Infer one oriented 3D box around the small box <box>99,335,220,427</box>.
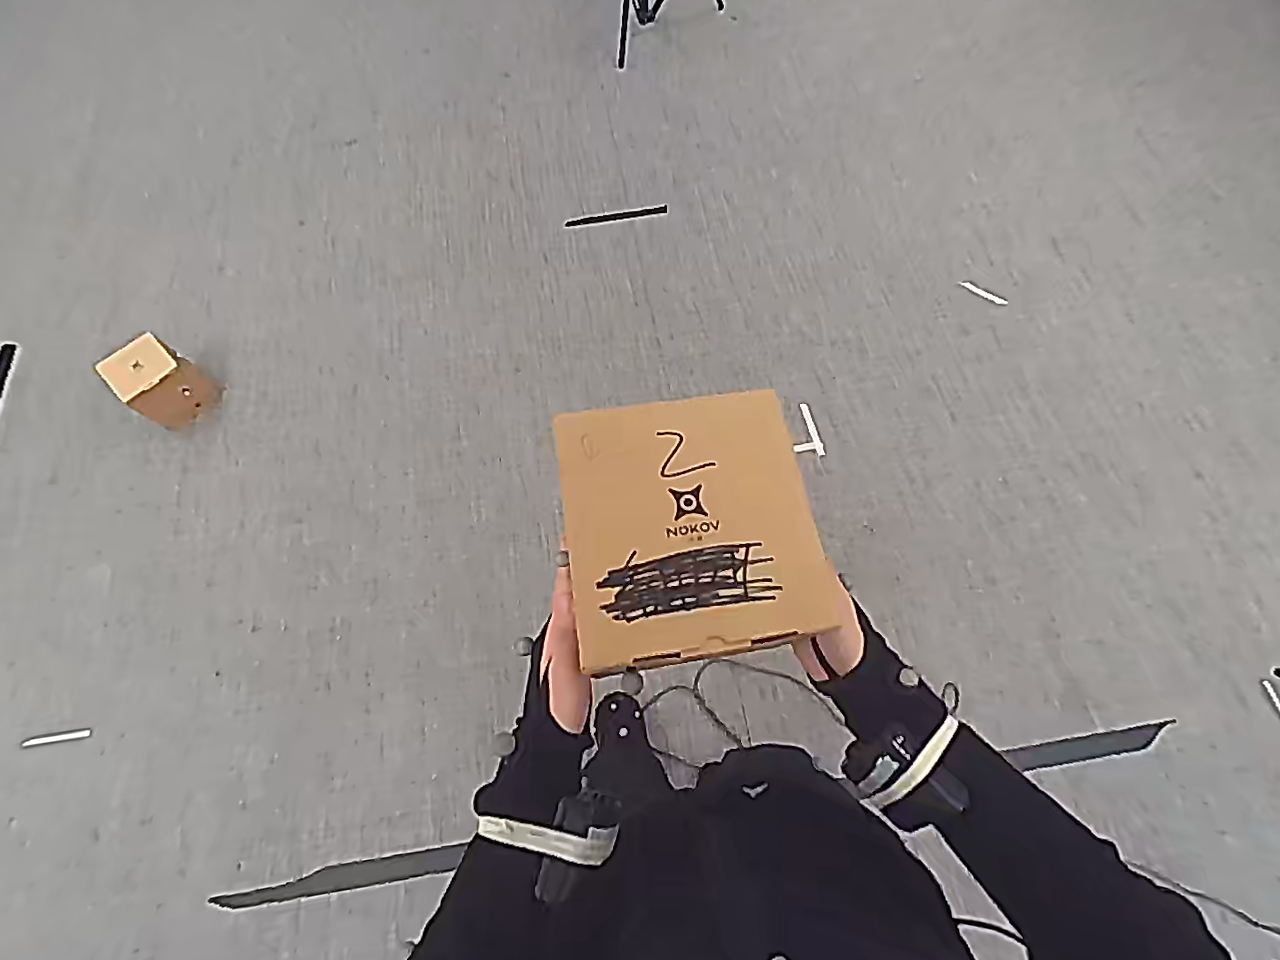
[{"bbox_3d":[-1.388,-0.277,1.576,0.179,0.176,0.168,40,73,16],"label":"small box"}]
